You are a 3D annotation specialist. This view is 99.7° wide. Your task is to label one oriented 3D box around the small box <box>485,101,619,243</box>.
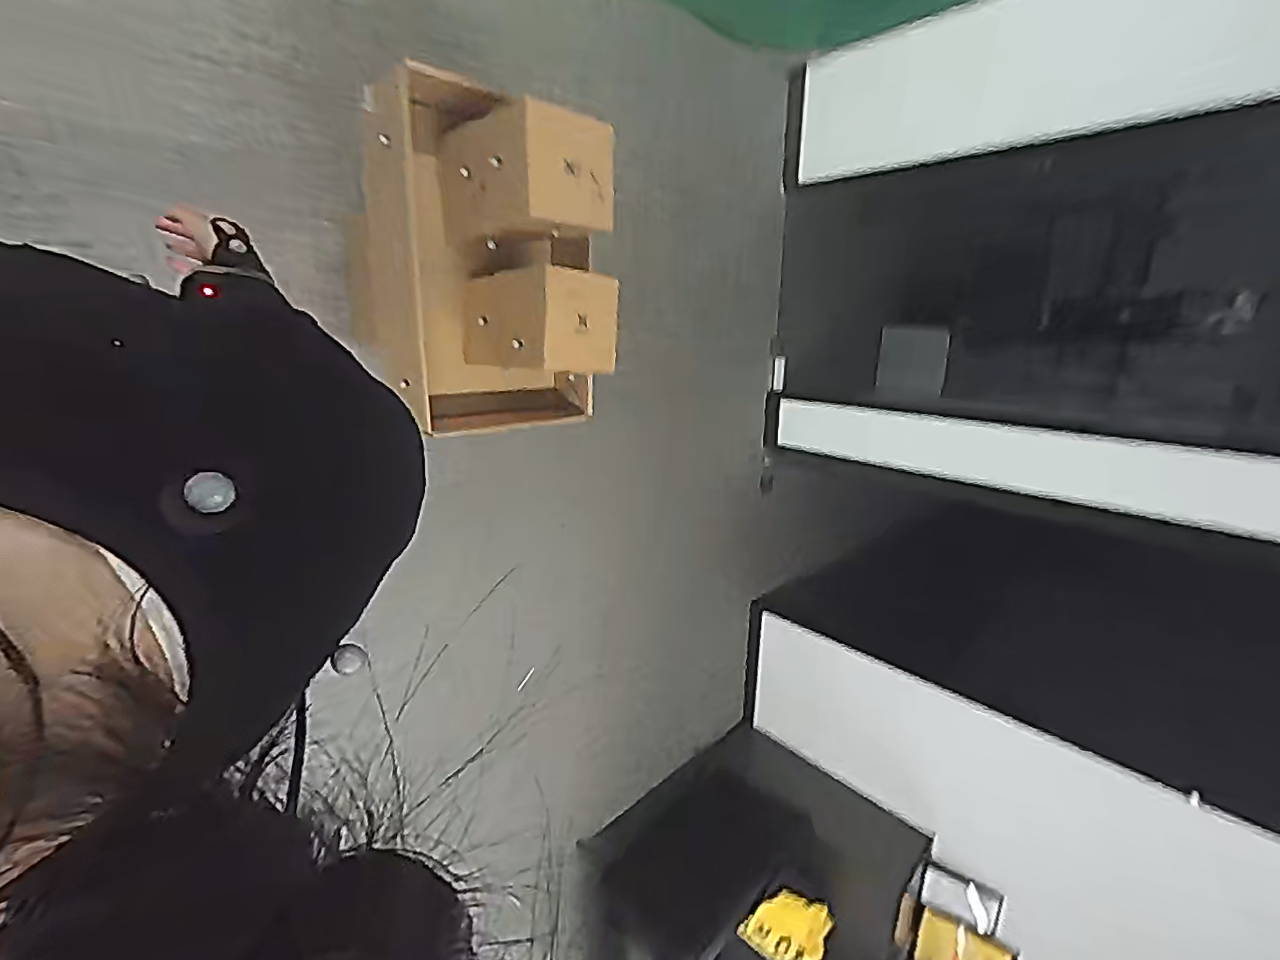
[{"bbox_3d":[-0.156,-0.515,0.935,0.179,0.176,0.168,-12,111,-42],"label":"small box"}]
